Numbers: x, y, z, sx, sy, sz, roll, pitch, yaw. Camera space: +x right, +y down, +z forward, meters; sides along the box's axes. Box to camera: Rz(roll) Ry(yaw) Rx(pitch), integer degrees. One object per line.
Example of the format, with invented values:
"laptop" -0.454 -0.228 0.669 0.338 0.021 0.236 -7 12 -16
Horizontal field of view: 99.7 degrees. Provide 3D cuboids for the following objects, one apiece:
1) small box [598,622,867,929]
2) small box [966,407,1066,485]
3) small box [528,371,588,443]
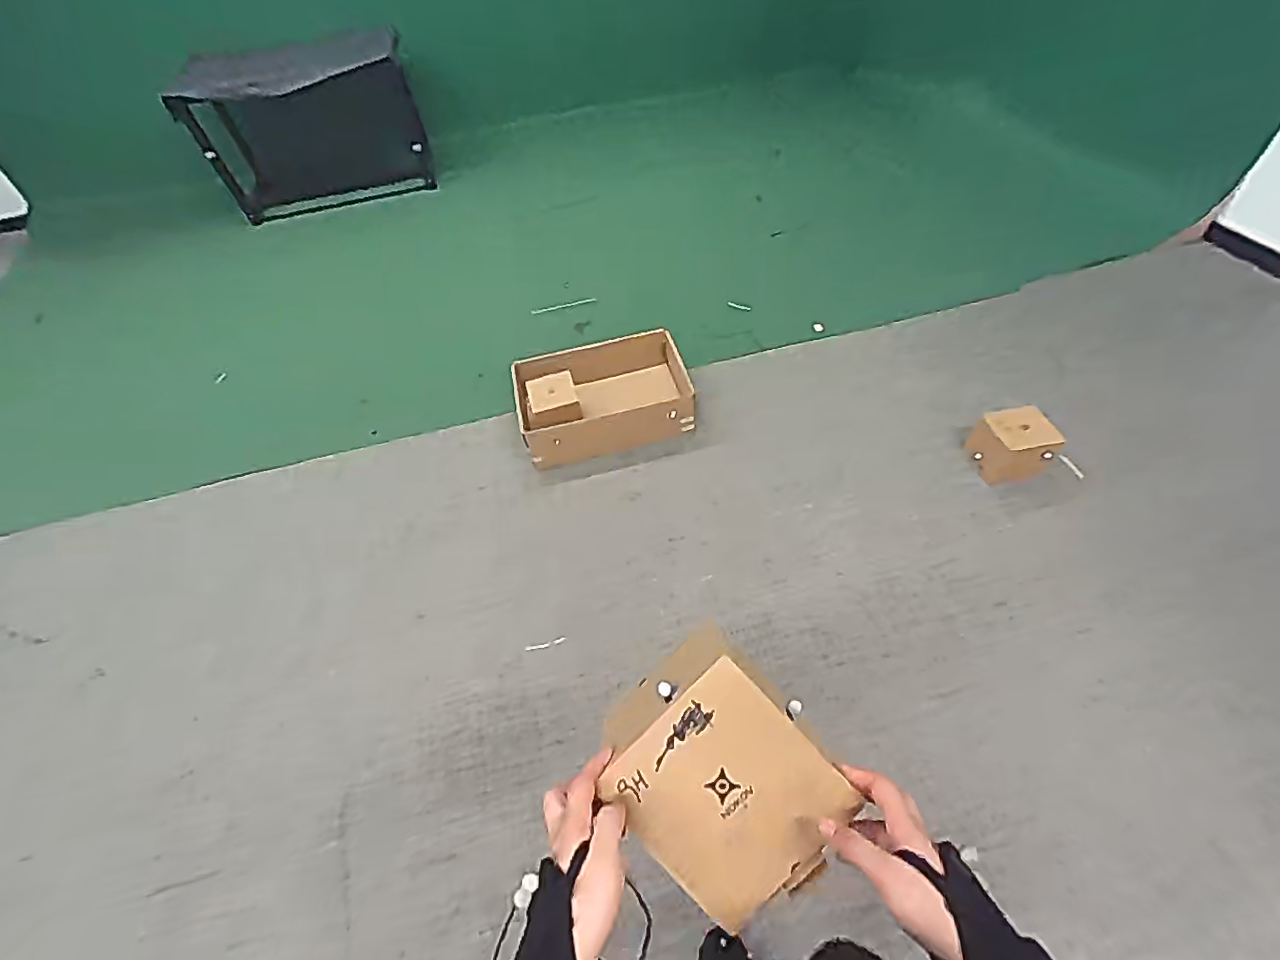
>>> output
"small box" 0.081 0.270 0.543 0.168 0.176 0.179 -44 88 -1
"small box" 1.185 -0.105 1.720 0.179 0.176 0.168 -10 51 -1
"small box" -0.296 -0.262 1.955 0.168 0.176 0.179 -16 53 -6
